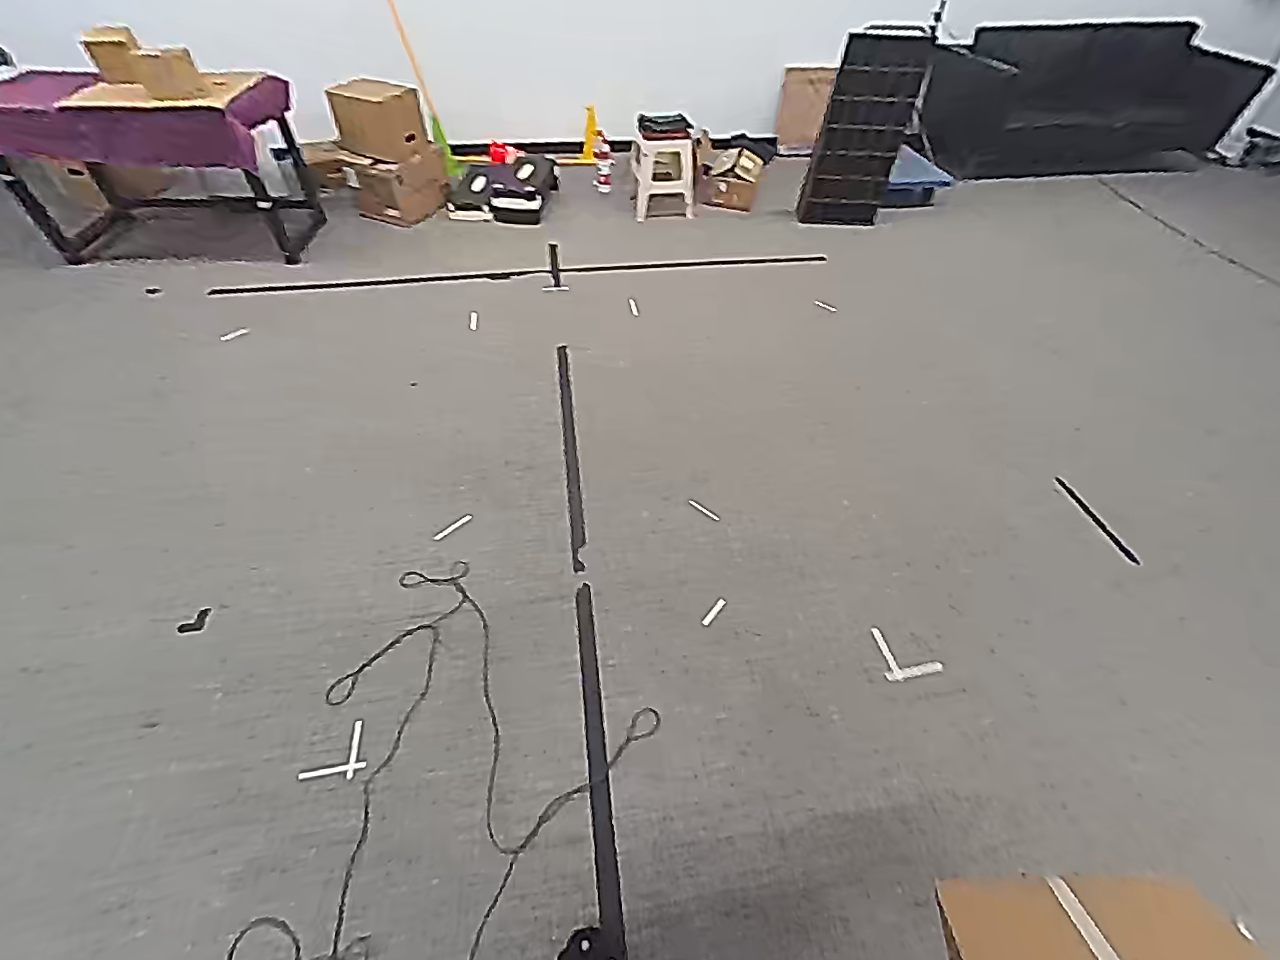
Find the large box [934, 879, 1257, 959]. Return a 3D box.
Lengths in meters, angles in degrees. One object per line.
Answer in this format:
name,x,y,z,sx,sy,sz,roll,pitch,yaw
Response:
large box,0.557,0.713,0.563,0.320,0.408,0.320,-12,88,13
